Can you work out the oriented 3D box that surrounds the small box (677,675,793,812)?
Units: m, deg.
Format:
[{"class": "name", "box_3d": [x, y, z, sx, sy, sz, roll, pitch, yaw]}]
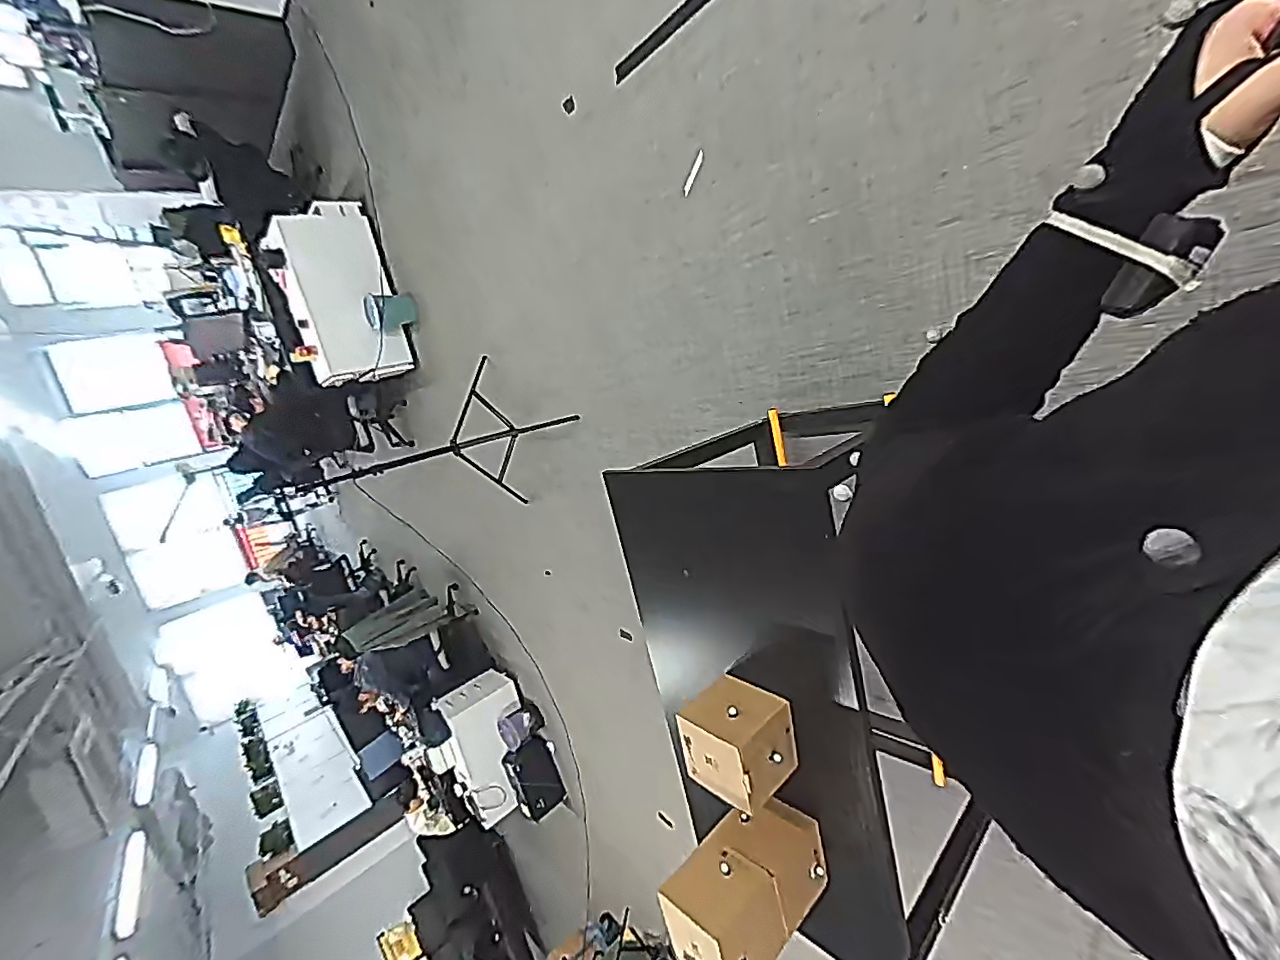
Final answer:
[{"class": "small box", "box_3d": [0.209, 0.546, 1.150, 0.179, 0.176, 0.168, 5, 112, 49]}]

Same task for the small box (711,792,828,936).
[{"class": "small box", "box_3d": [0.288, 0.828, 1.197, 0.179, 0.176, 0.168, 0, 109, 50]}]

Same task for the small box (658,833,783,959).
[{"class": "small box", "box_3d": [0.168, 0.878, 1.096, 0.168, 0.176, 0.179, -1, 107, 51]}]
